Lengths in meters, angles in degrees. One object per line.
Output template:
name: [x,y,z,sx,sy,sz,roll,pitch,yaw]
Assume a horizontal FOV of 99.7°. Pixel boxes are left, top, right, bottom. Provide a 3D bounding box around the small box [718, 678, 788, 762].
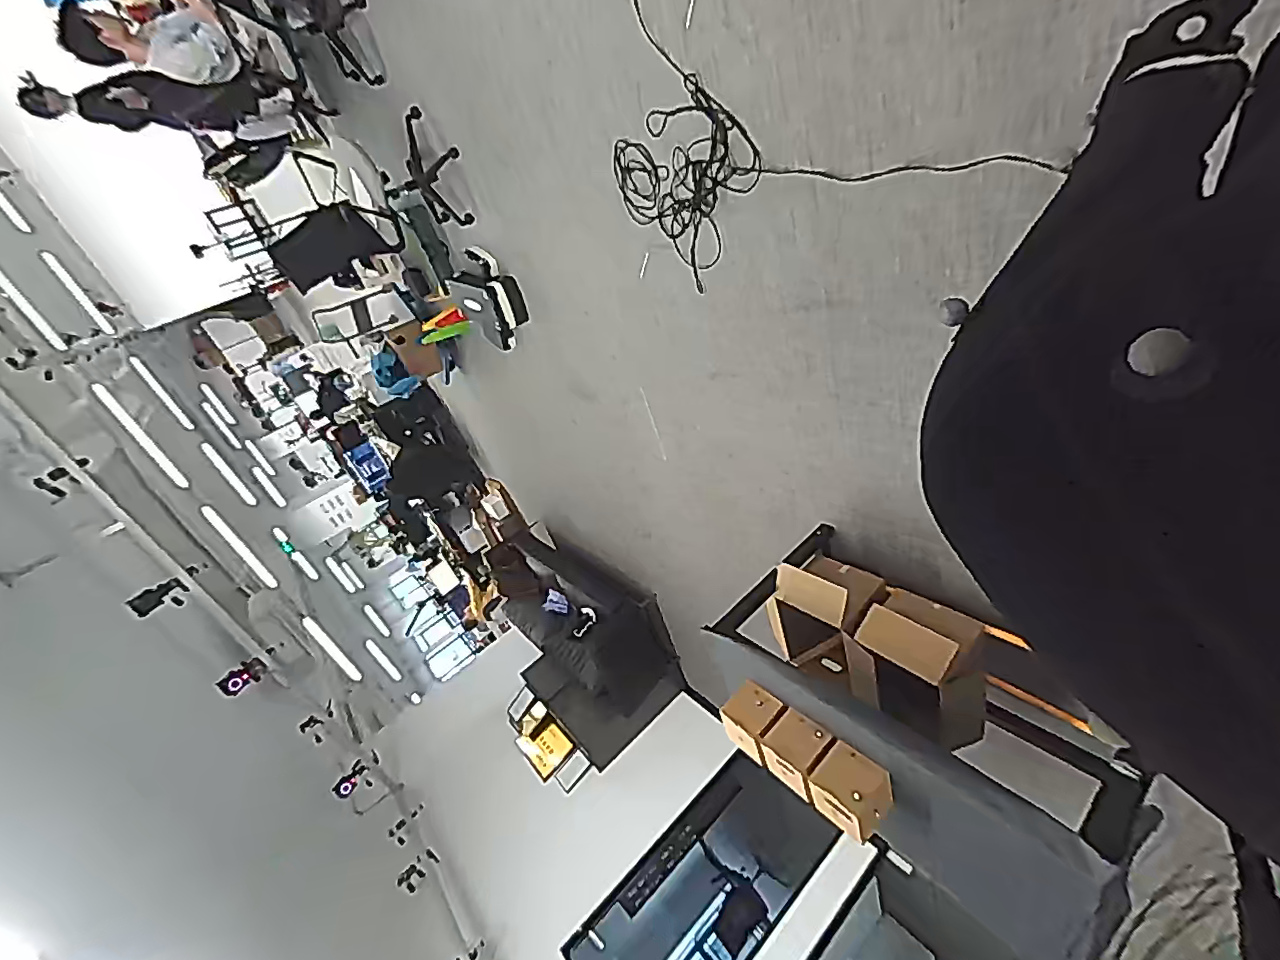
small box: [0.410,0.854,1.937,0.168,0.176,0.179,23,140,48]
